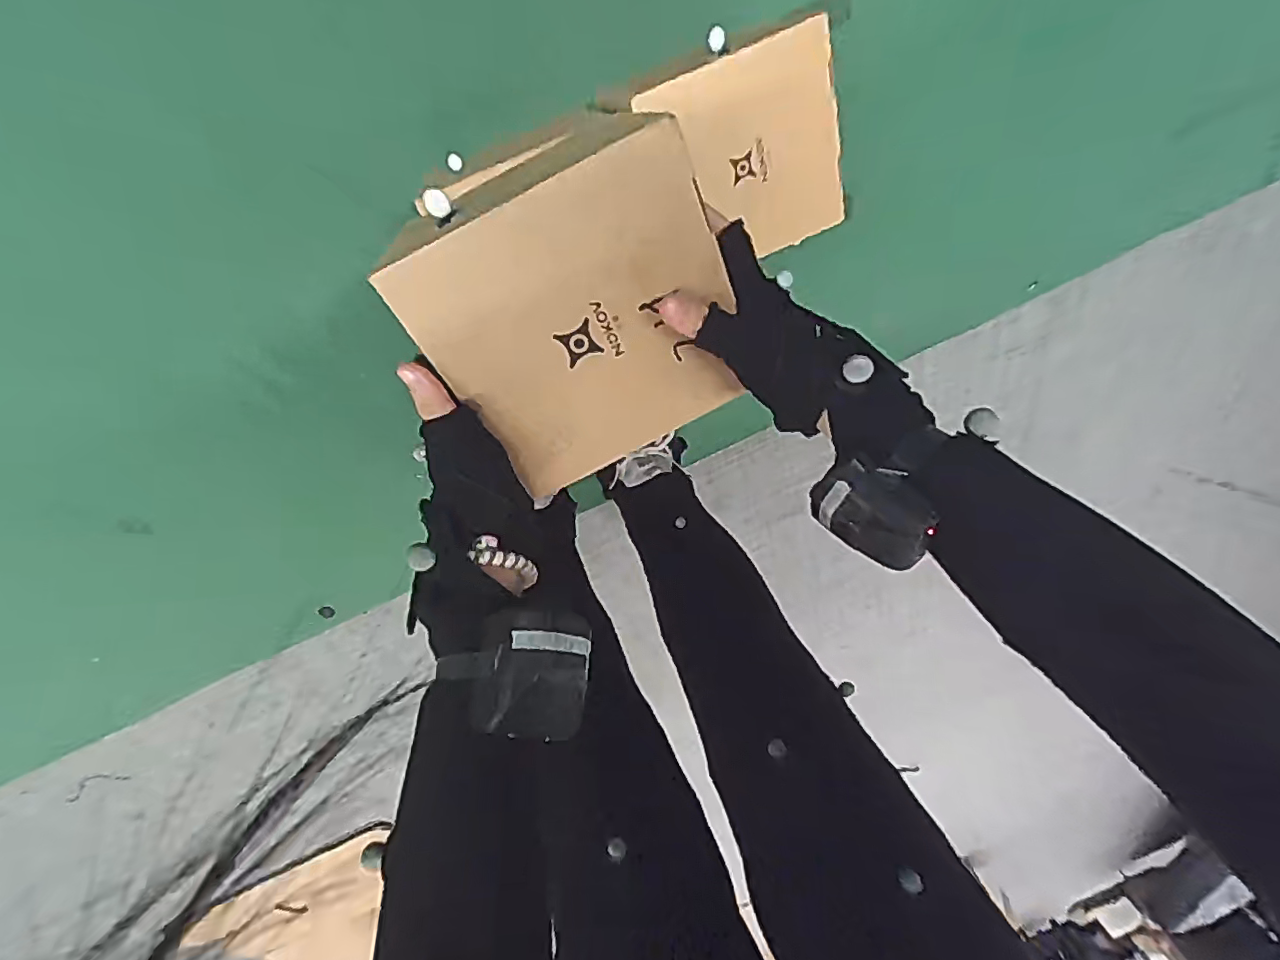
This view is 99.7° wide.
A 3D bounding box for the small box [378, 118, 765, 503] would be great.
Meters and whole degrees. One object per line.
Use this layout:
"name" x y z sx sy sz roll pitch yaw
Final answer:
"small box" -0.043 -0.121 0.376 0.179 0.176 0.168 -27 126 2
